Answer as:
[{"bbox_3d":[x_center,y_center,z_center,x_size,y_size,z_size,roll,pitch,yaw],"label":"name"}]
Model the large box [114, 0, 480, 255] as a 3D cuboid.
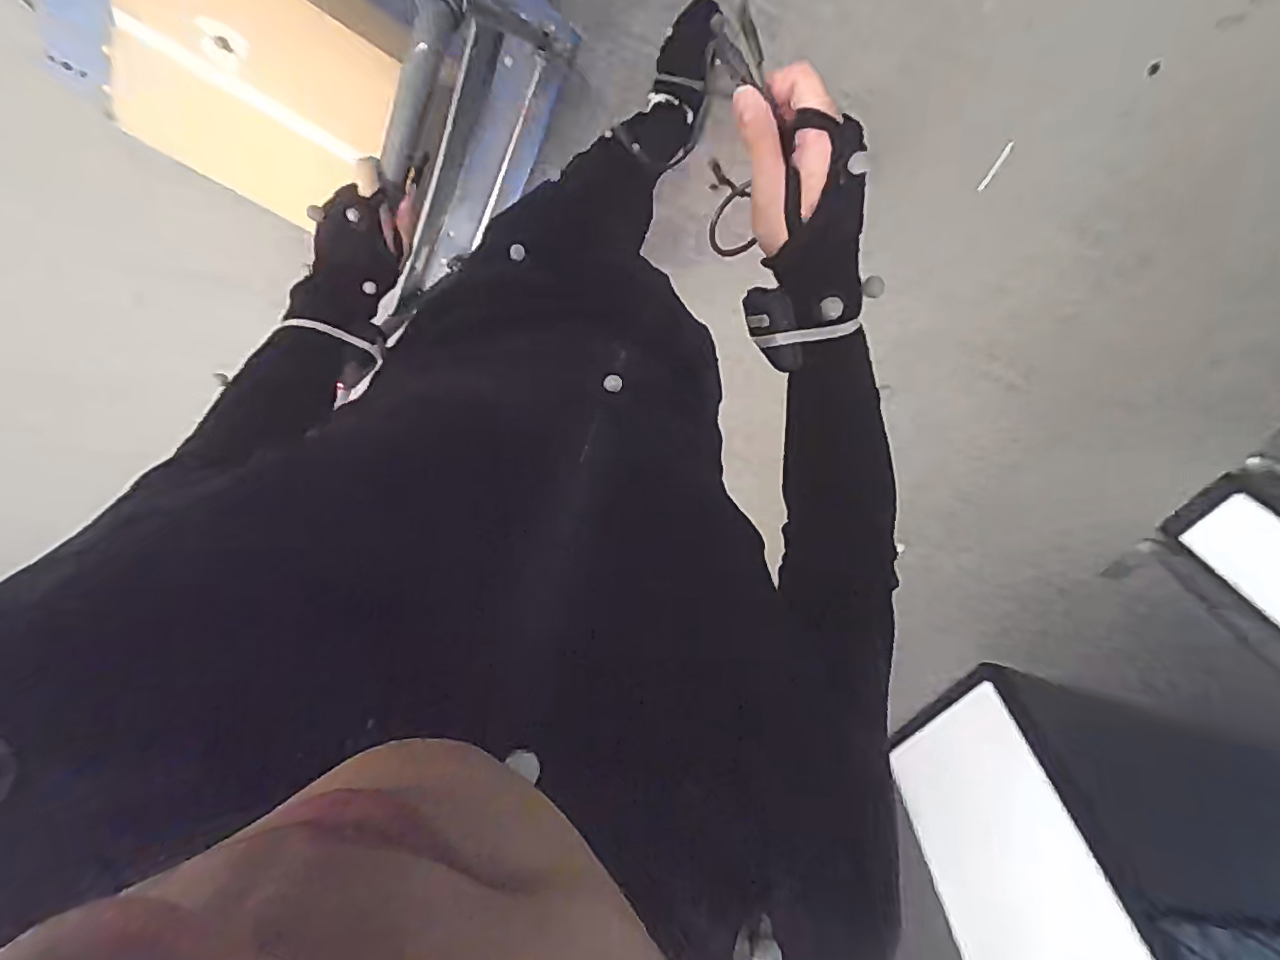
[{"bbox_3d":[-0.542,-0.663,0.915,0.408,0.320,0.320,26,124,-19],"label":"large box"}]
